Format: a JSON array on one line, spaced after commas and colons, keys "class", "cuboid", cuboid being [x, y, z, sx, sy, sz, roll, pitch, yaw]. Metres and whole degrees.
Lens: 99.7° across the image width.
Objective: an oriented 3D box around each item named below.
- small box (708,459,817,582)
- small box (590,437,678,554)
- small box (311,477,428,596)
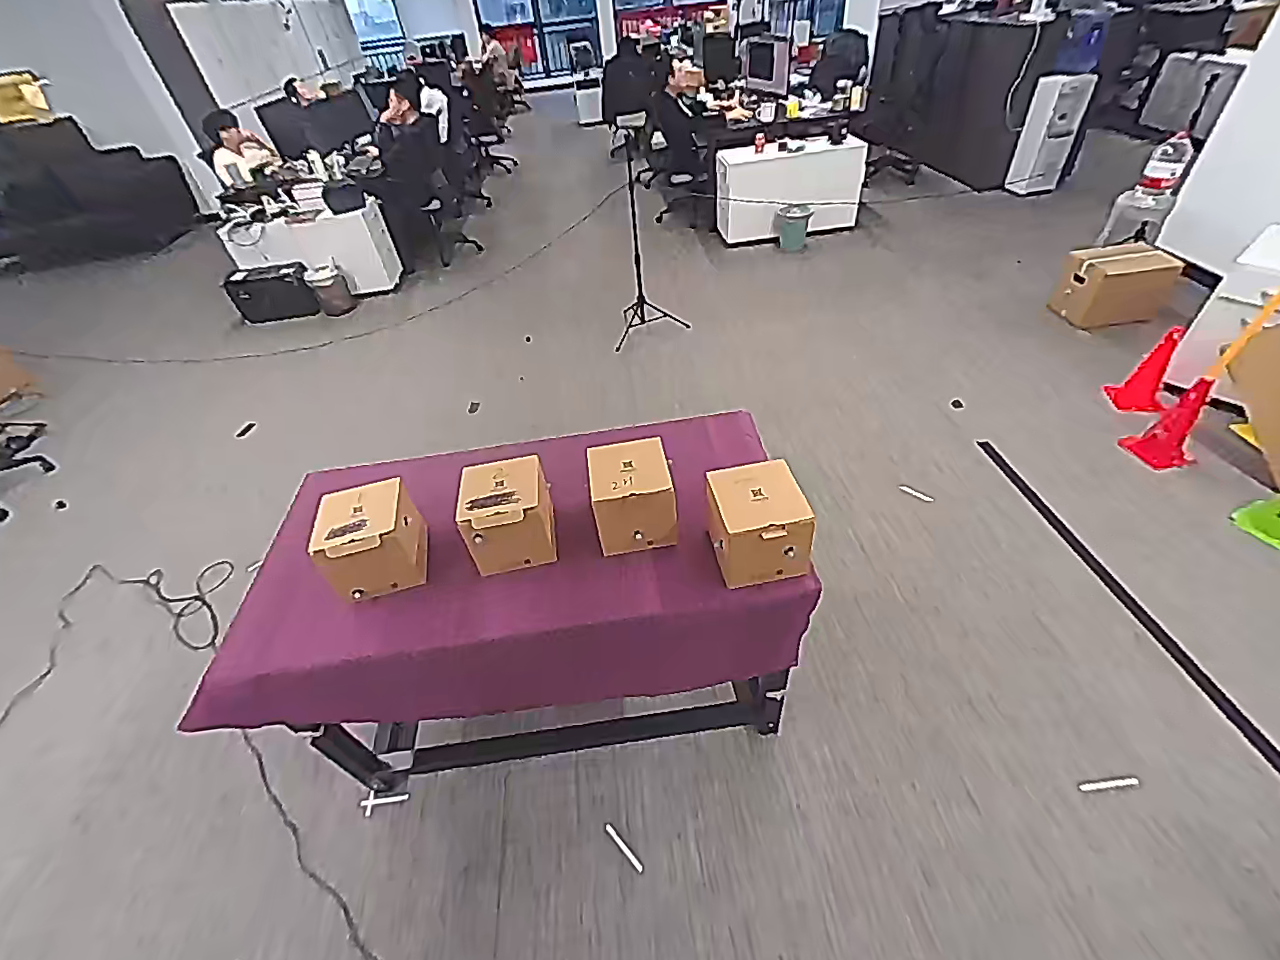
[{"class": "small box", "cuboid": [0.237, 0.088, 1.081, 0.168, 0.176, 0.179, -10, 42, -2]}, {"class": "small box", "cuboid": [-0.013, 0.034, 1.174, 0.168, 0.176, 0.179, -9, 43, -1]}, {"class": "small box", "cuboid": [-0.563, 0.126, 1.152, 0.168, 0.176, 0.179, -14, 42, -8]}]
